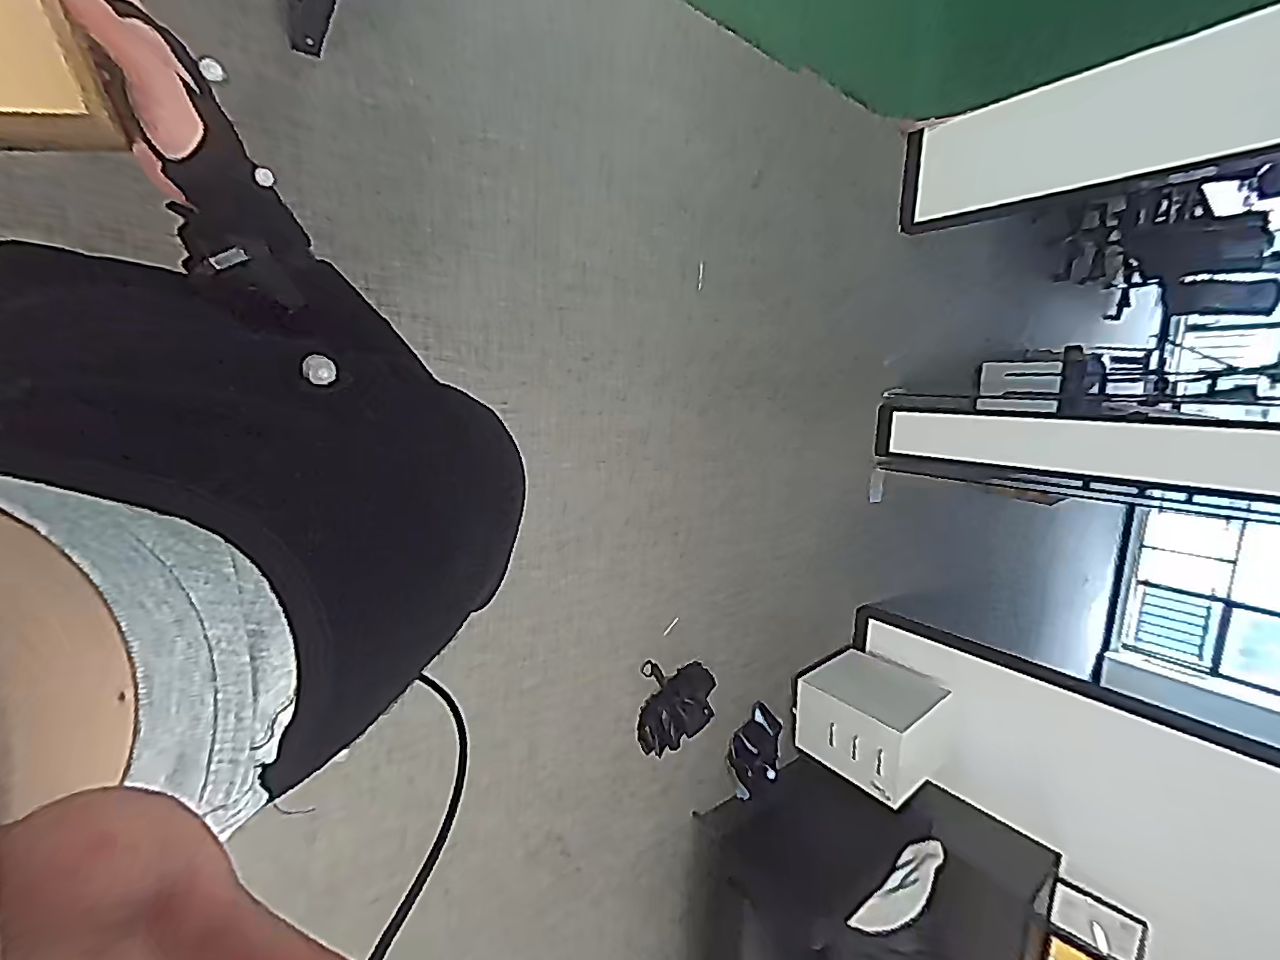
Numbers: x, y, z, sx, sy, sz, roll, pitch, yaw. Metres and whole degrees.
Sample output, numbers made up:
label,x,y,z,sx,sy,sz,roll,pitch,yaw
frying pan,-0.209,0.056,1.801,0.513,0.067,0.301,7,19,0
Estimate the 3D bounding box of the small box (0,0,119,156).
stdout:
label,x,y,z,sx,sy,sz,roll,pitch,yaw
small box,-0.396,-0.264,0.254,0.168,0.176,0.179,-19,122,-29
